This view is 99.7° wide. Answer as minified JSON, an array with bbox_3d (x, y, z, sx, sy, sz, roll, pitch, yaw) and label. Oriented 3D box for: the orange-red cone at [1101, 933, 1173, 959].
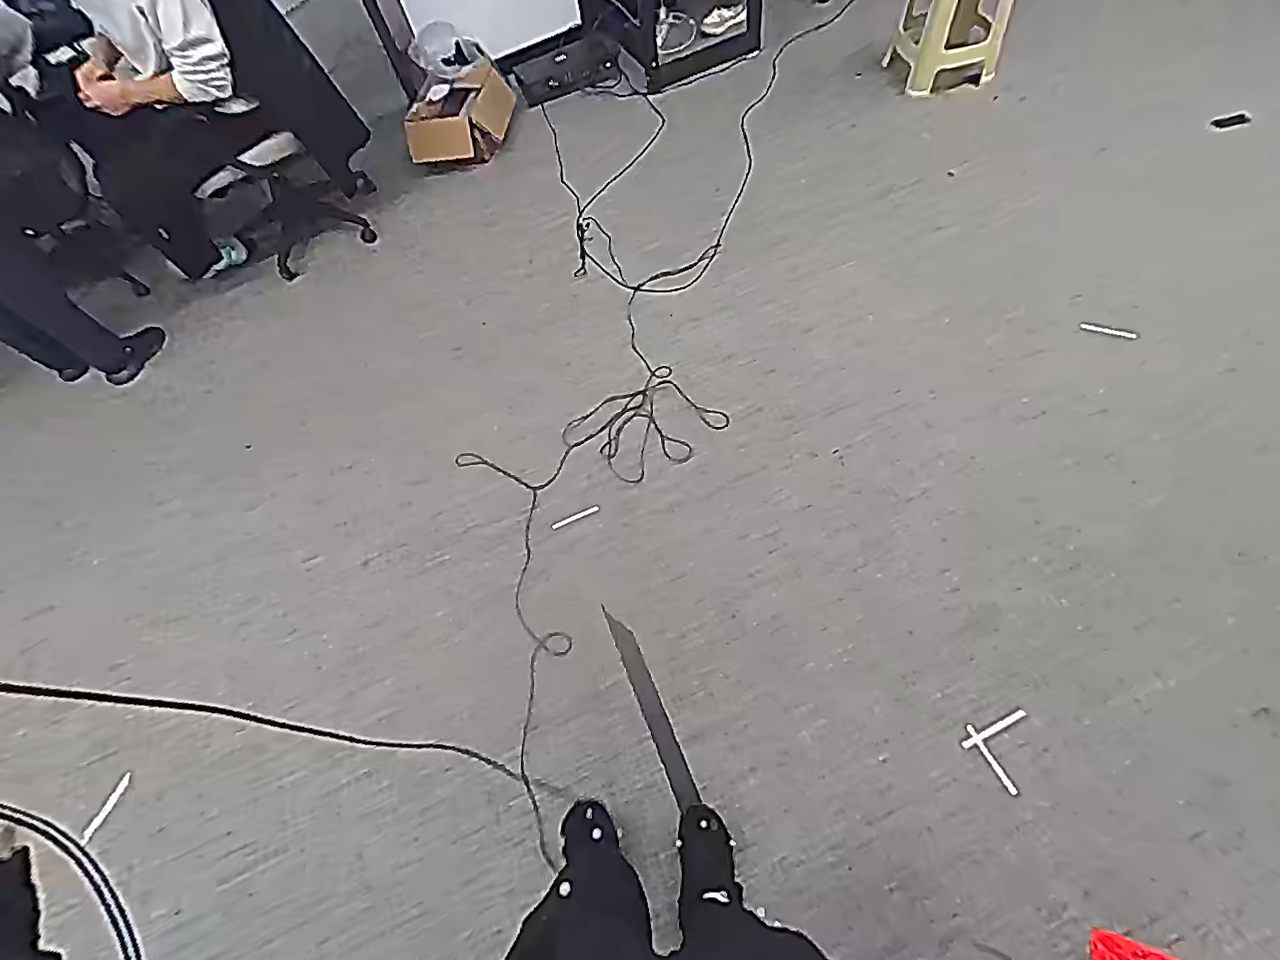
[{"bbox_3d":[0.827,0.804,0.722,0.198,0.360,0.199,16,66,19],"label":"orange-red cone"}]
